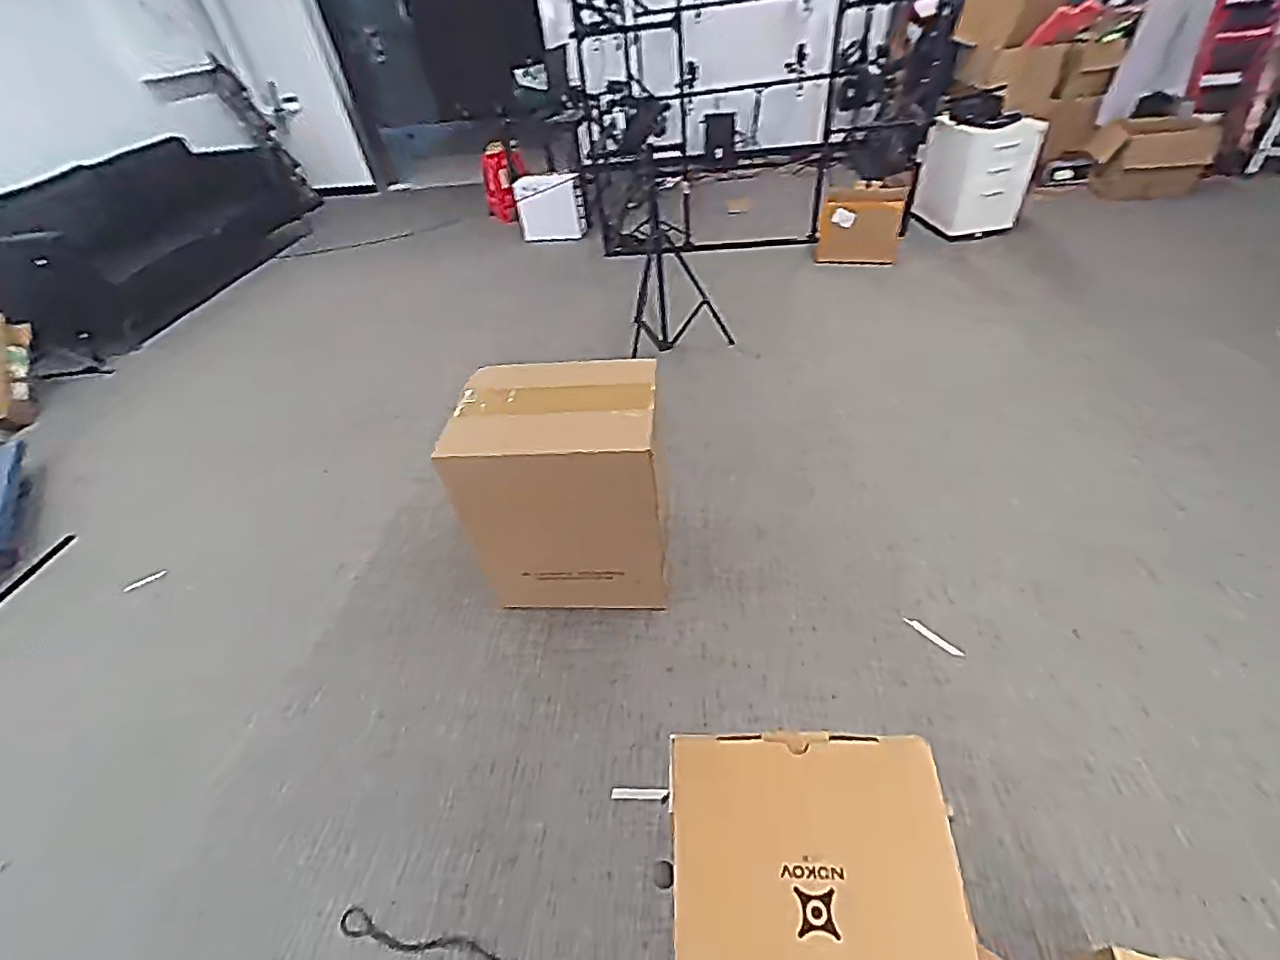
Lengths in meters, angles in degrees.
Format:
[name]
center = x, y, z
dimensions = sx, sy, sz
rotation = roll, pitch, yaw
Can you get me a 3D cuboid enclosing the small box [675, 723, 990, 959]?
[small box]
center = 0.115, 0.276, 0.370
dimensions = 0.168, 0.176, 0.179
rotation = -4, 54, 8
